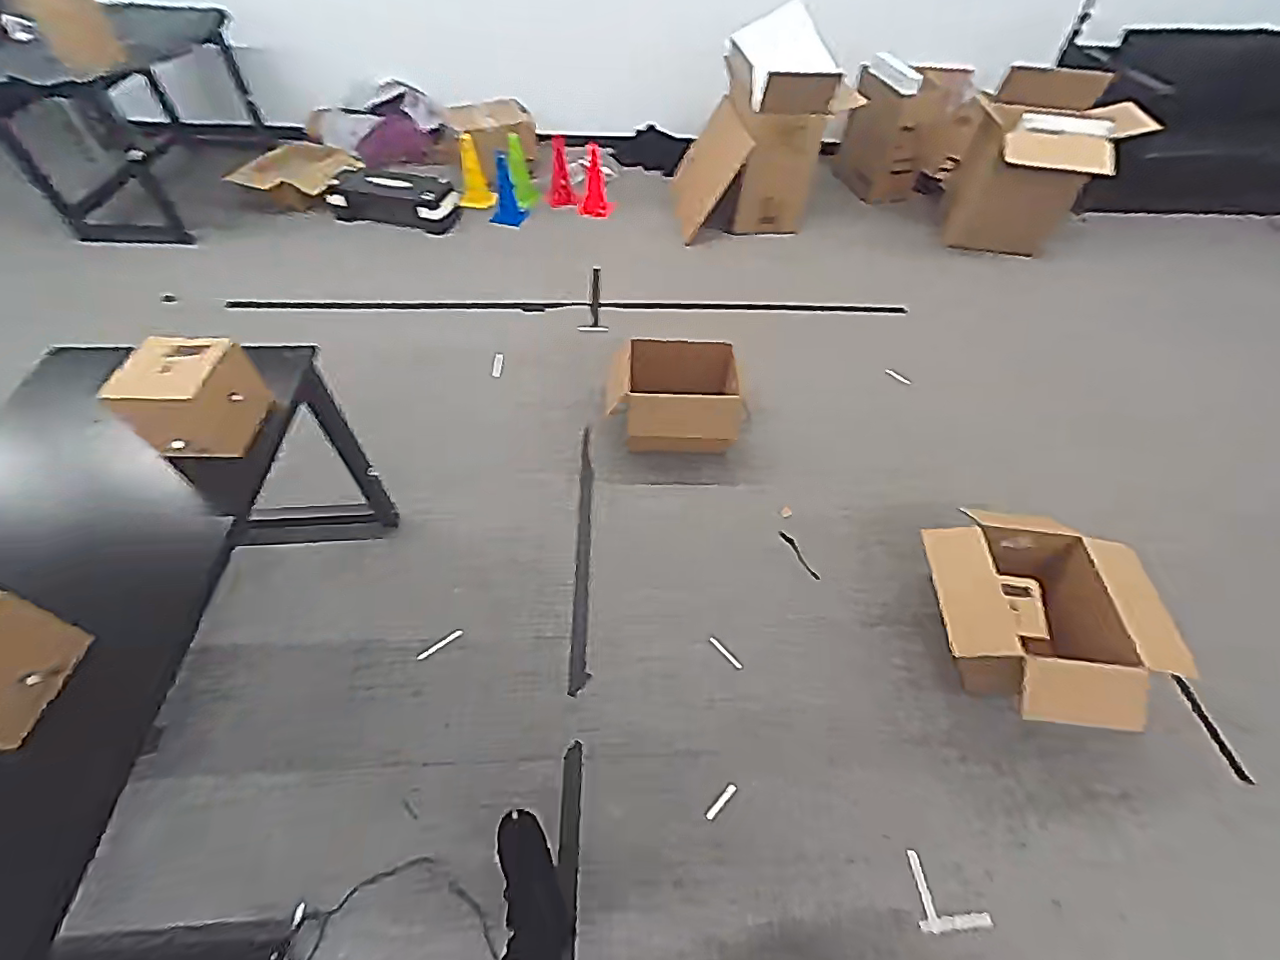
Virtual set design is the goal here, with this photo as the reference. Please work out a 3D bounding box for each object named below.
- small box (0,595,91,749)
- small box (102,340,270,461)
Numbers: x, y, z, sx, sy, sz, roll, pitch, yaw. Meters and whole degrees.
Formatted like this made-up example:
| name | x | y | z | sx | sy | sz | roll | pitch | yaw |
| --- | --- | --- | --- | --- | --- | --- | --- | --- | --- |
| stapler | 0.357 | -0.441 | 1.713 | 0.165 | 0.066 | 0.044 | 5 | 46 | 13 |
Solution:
| name | x | y | z | sx | sy | sz | roll | pitch | yaw |
| --- | --- | --- | --- | --- | --- | --- | --- | --- | --- |
| small box | -0.957 | 0.265 | 0.752 | 0.179 | 0.176 | 0.168 | 4 | 52 | 0 |
| small box | -0.889 | -0.159 | 1.086 | 0.168 | 0.176 | 0.179 | 0 | 53 | -1 |
